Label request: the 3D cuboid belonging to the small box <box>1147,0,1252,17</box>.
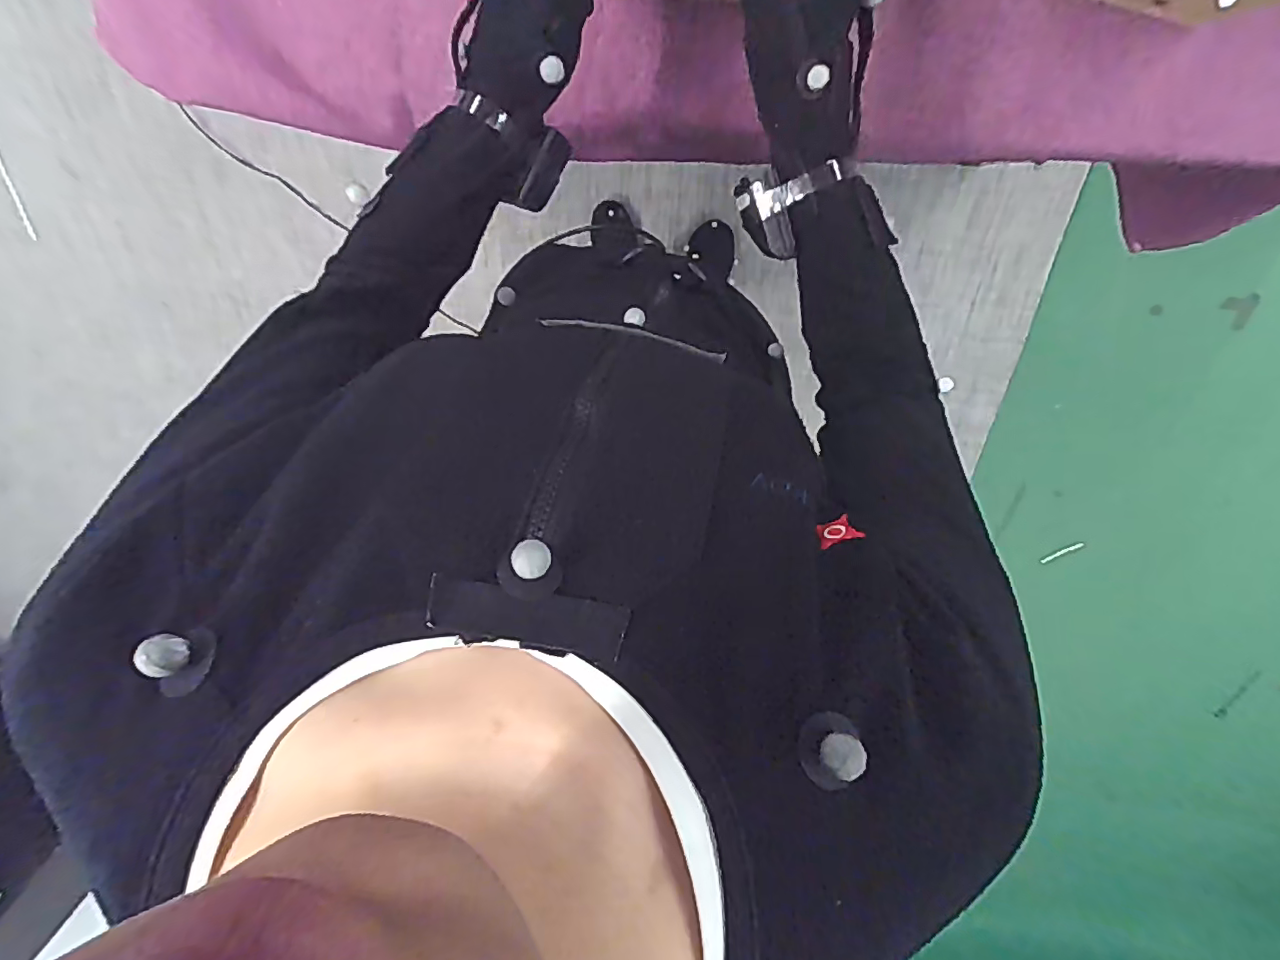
[{"bbox_3d":[0.442,-0.464,0.373,0.168,0.176,0.179,14,118,-3],"label":"small box"}]
